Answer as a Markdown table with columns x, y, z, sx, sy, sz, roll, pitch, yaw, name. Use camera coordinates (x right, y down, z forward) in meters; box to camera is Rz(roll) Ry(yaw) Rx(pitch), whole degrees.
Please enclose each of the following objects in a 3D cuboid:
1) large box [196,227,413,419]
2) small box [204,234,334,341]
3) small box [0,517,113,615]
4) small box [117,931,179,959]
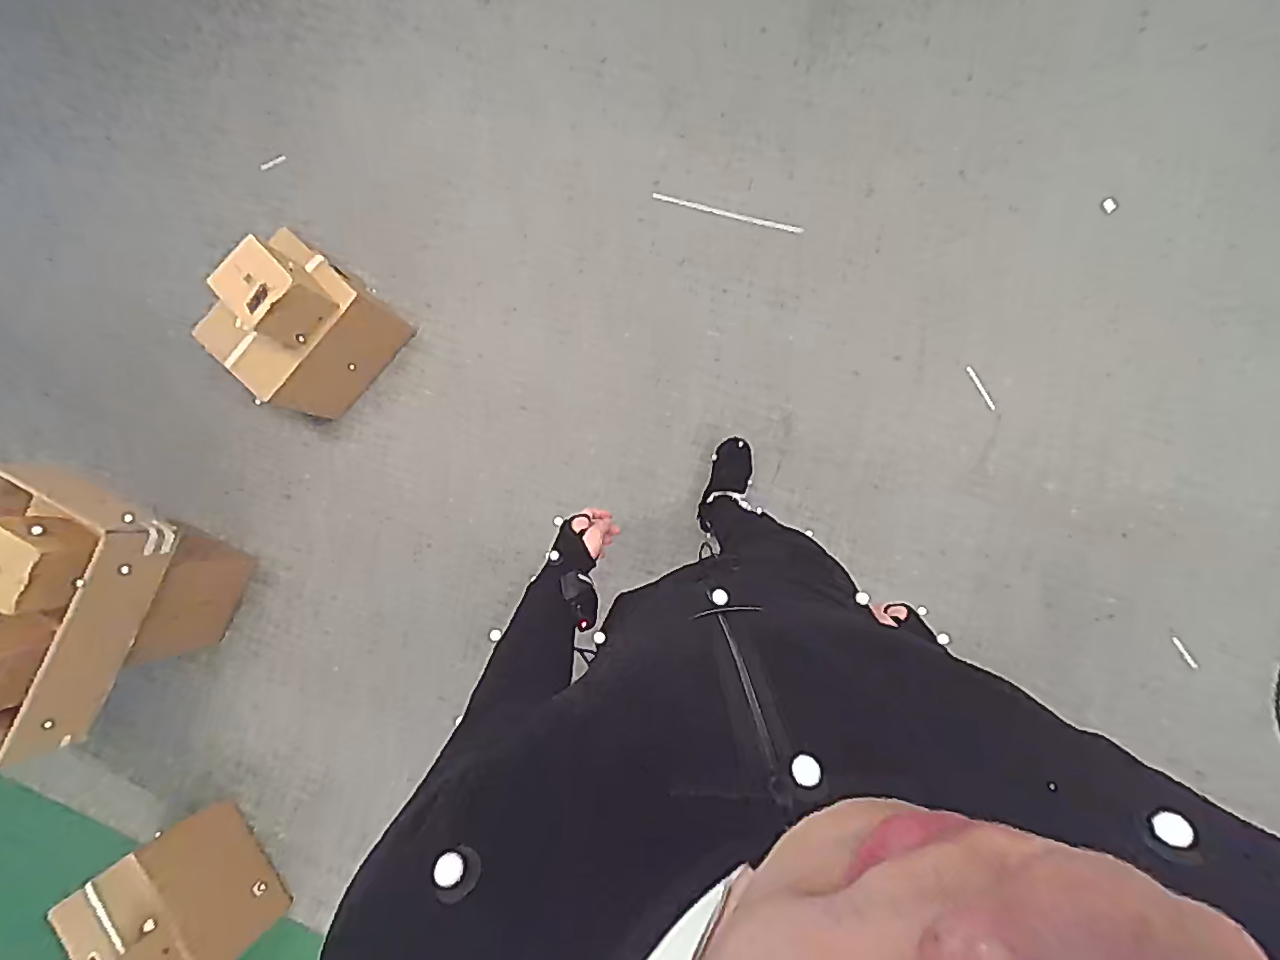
| x | y | z | sx | sy | sz | roll | pitch | yaw | name |
| --- | --- | --- | --- | --- | --- | --- | --- | --- | --- |
| -0.985 | -0.448 | 1.630 | 0.320 | 0.320 | 0.408 | 42 | 93 | 7 | large box |
| -0.933 | -0.477 | 1.378 | 0.168 | 0.176 | 0.179 | -45 | 85 | 2 | small box |
| -1.444 | 0.198 | 1.293 | 0.179 | 0.176 | 0.168 | 26 | 90 | 5 | small box |
| -1.276 | 1.278 | 1.323 | 0.179 | 0.176 | 0.168 | -37 | 84 | 2 | small box |
